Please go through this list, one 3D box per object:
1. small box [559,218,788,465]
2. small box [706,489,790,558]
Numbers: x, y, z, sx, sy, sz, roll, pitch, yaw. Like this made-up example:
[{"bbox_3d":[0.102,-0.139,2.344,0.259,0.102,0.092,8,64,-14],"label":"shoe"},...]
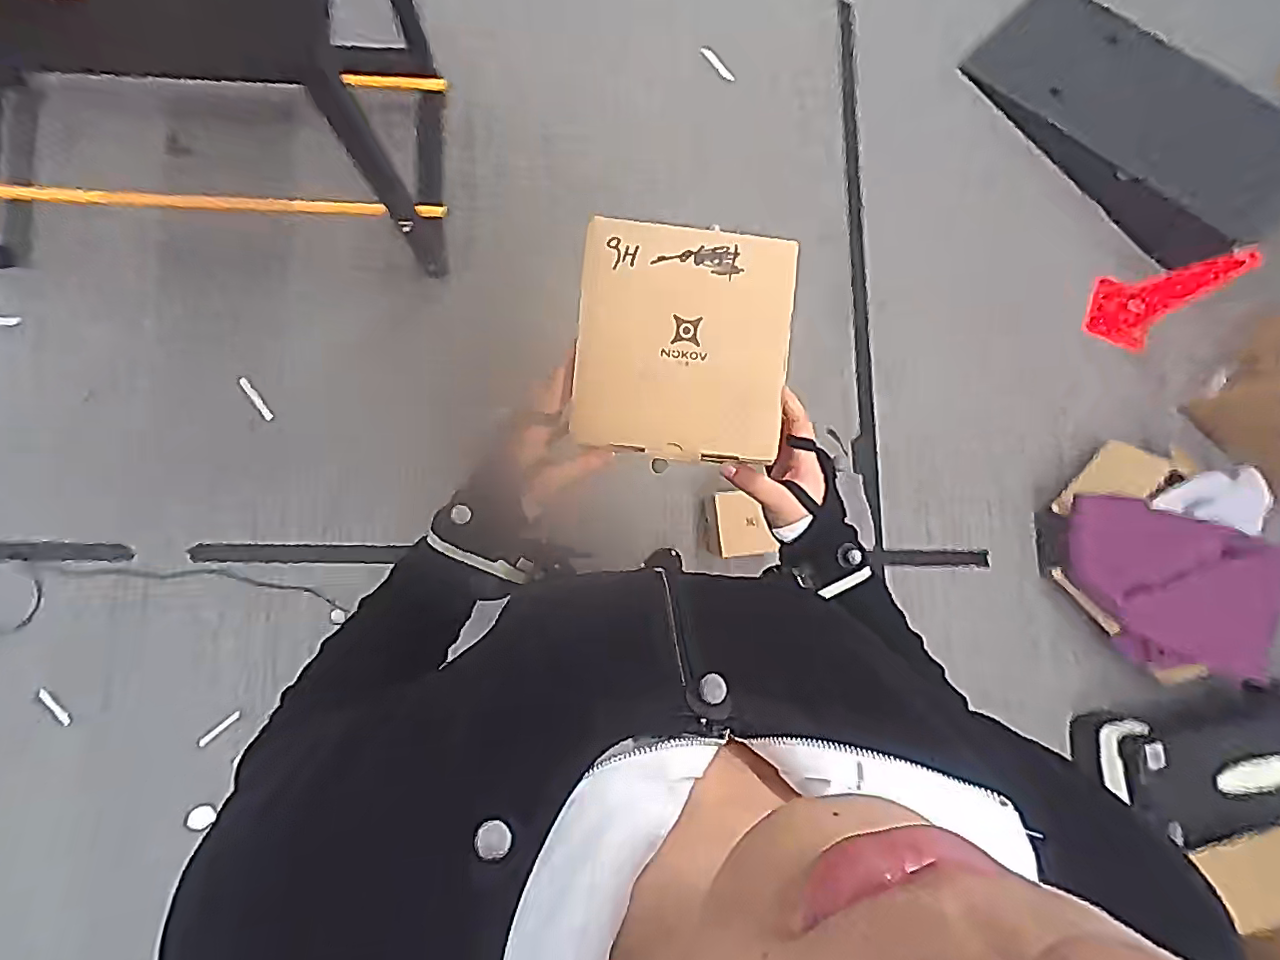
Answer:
[{"bbox_3d":[0.022,-0.110,0.494,0.168,0.176,0.179,4,93,-3],"label":"small box"},{"bbox_3d":[0.285,0.117,1.455,0.179,0.176,0.168,-6,84,-3],"label":"small box"}]
